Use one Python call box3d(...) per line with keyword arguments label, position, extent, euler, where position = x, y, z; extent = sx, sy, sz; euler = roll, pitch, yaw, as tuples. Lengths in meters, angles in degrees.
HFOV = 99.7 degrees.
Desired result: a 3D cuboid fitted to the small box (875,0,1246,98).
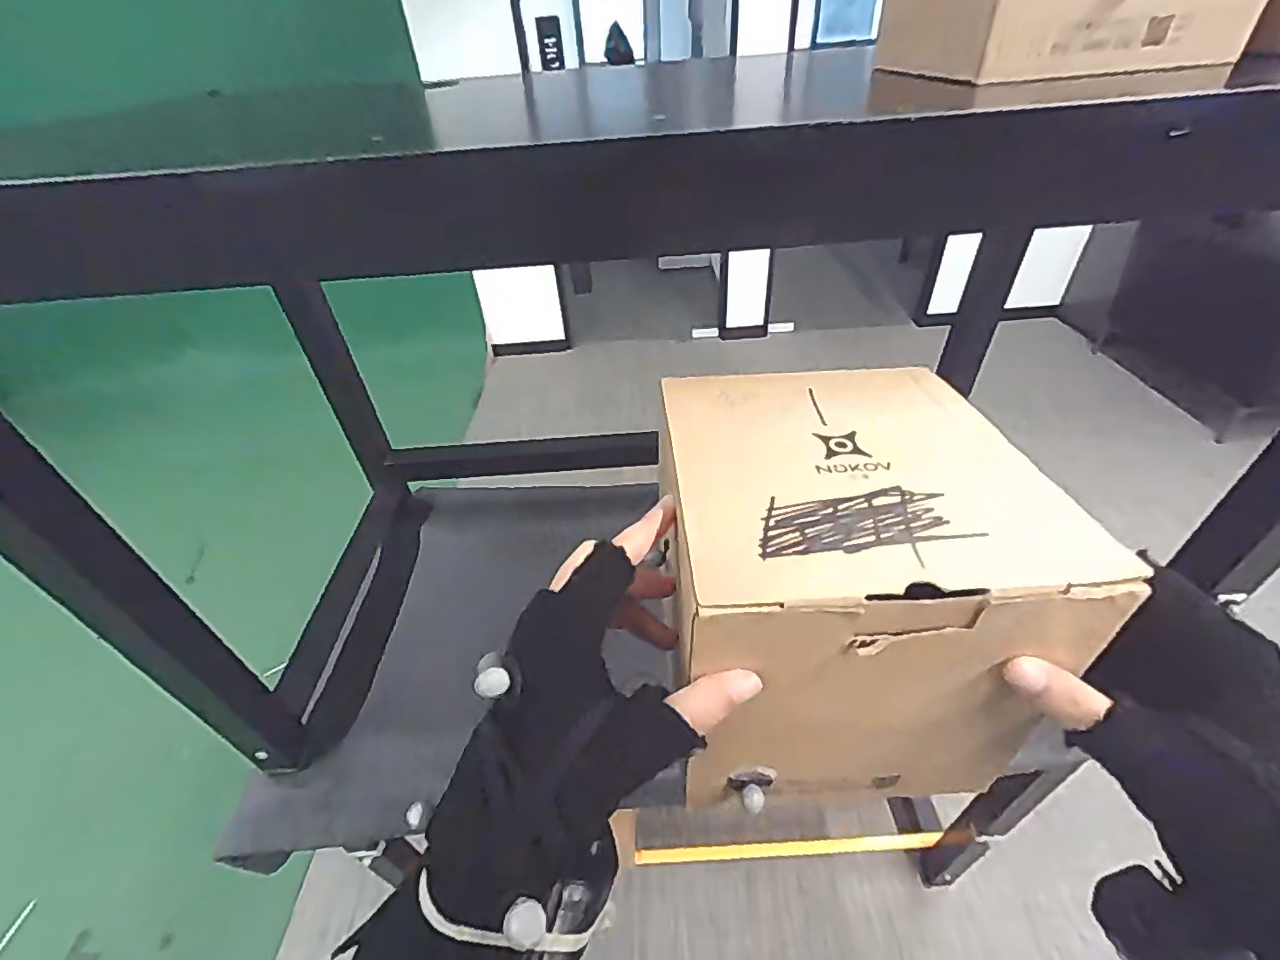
box3d(label="small box", position=(0.283, -0.369, 0.367), extent=(0.168, 0.176, 0.179), euler=(-4, 40, 0))
